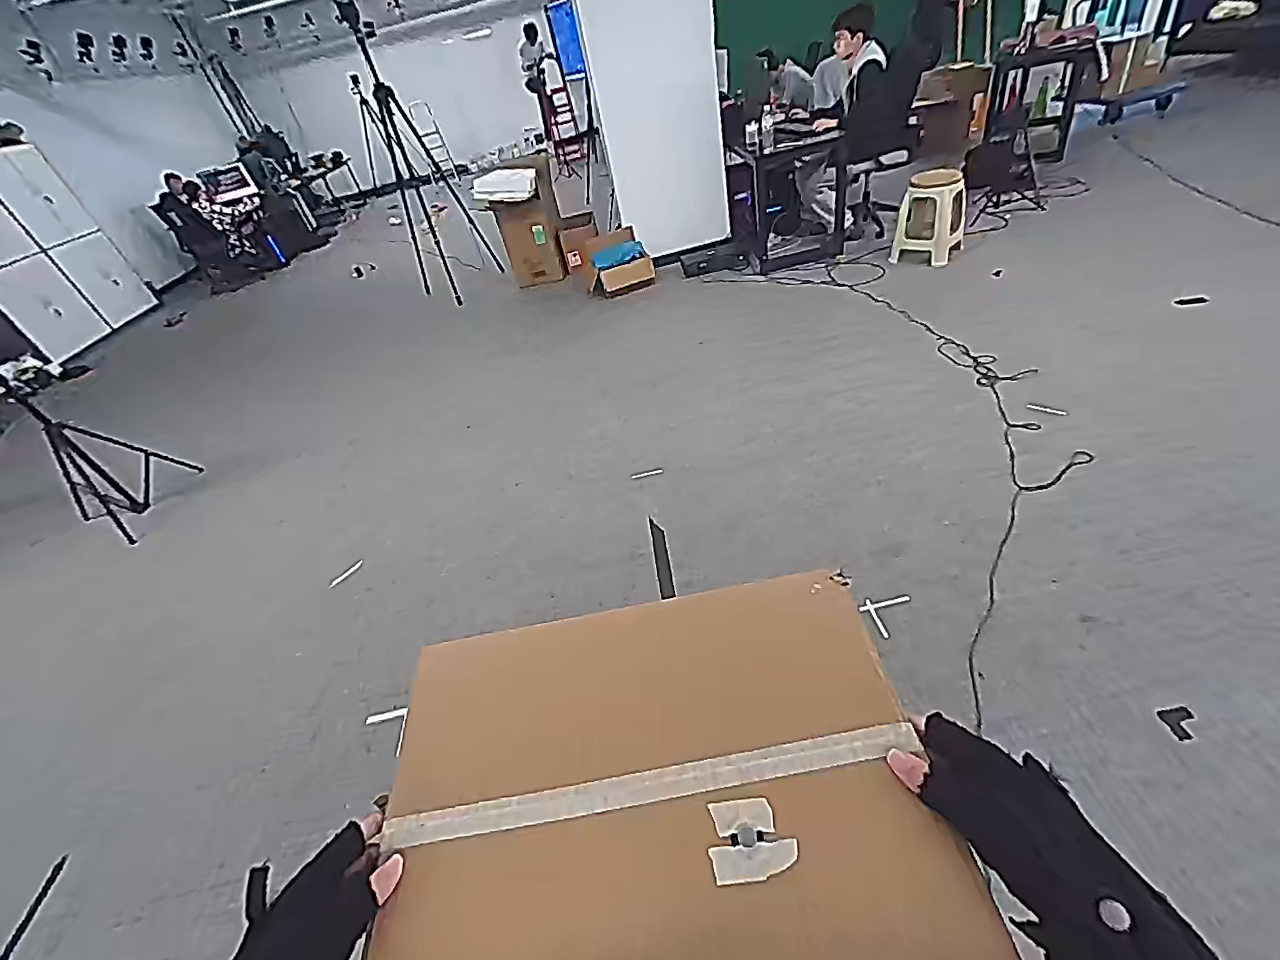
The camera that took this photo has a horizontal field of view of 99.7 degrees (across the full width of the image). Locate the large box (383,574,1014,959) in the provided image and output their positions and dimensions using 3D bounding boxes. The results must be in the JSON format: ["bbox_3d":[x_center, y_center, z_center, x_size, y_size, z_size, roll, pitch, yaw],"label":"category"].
[{"bbox_3d":[0.032,0.340,0.520,0.408,0.320,0.320,-11,45,1],"label":"large box"}]
